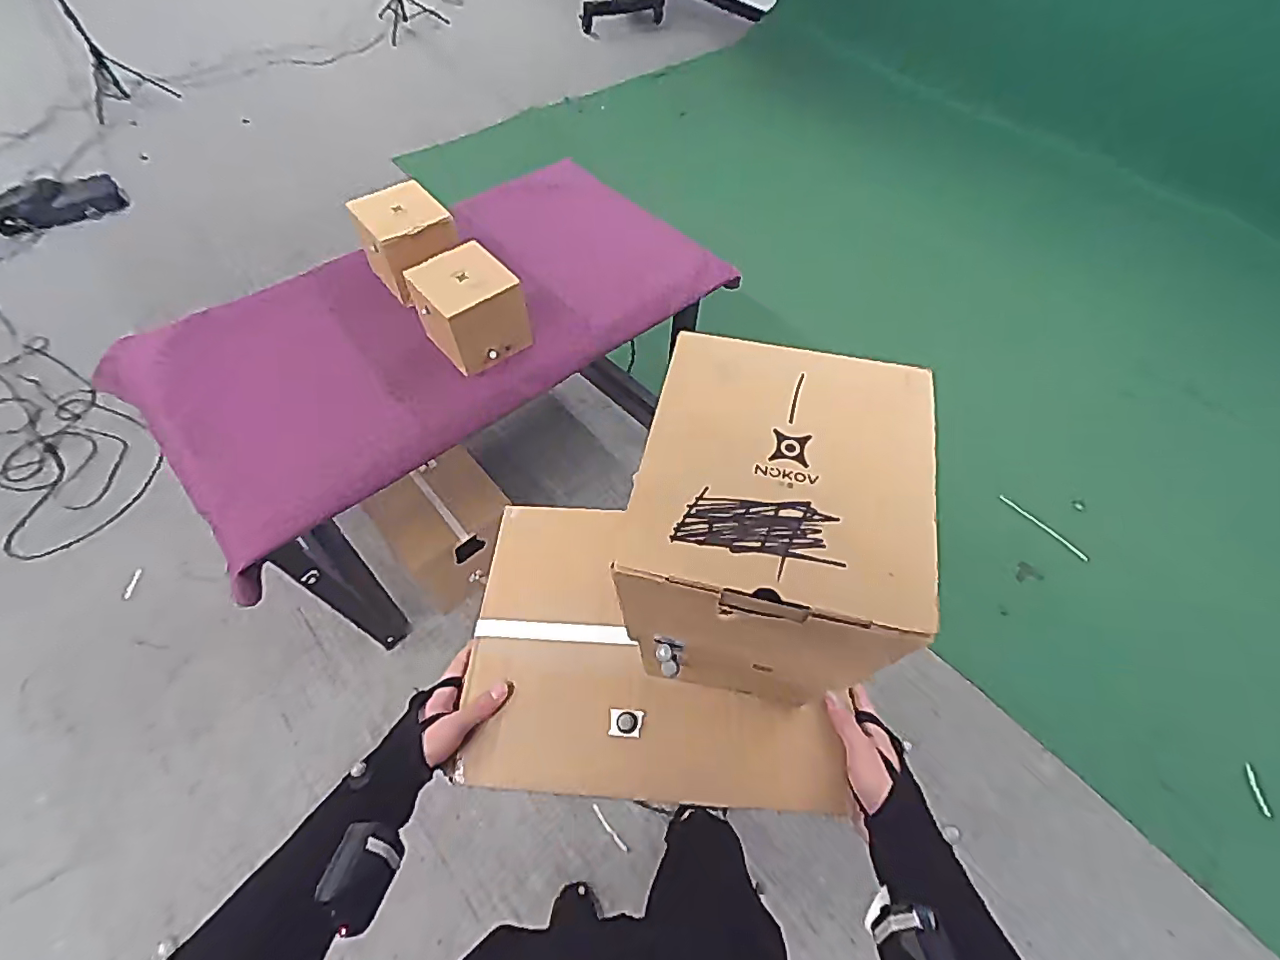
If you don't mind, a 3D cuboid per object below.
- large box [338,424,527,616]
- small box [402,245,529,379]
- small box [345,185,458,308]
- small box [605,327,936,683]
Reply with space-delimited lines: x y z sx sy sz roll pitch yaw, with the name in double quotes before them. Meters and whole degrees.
"large box" -0.592 0.119 1.595 0.320 0.320 0.408 -36 64 -23
"small box" -0.352 -0.343 1.112 0.168 0.176 0.179 -35 65 -21
"small box" -0.524 -0.526 1.224 0.168 0.176 0.179 -34 66 -22
"small box" 0.085 0.026 0.376 0.168 0.176 0.179 12 61 9
